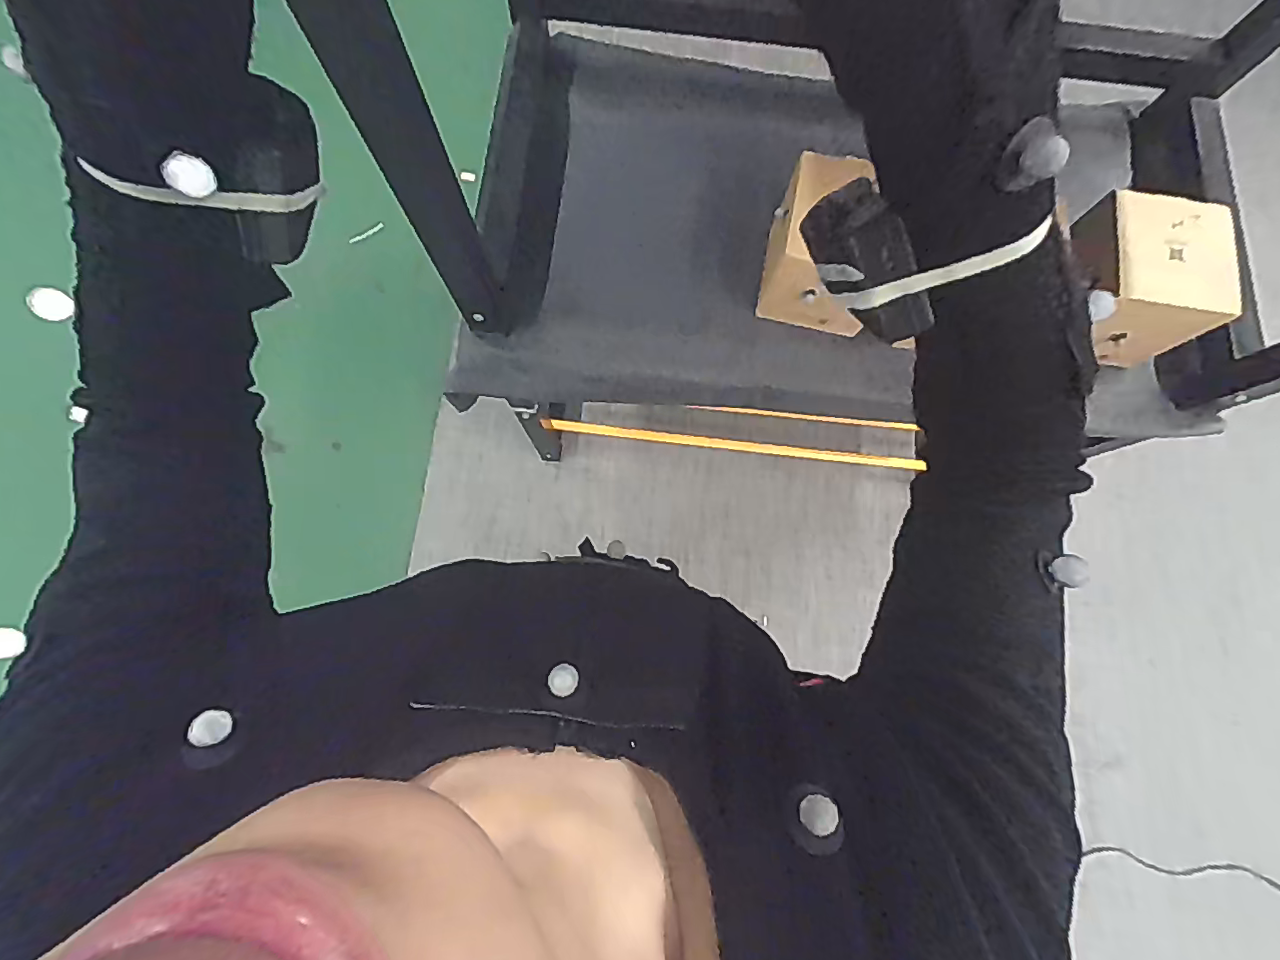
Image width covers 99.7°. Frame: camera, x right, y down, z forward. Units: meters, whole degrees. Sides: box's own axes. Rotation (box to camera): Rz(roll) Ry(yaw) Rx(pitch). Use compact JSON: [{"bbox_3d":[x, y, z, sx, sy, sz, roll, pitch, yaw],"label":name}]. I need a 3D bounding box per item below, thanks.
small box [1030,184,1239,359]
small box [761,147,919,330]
[{"bbox_3d":[0.729,-0.302,0.817,0.168,0.176,0.179,9,77,0],"label":"small box"},{"bbox_3d":[0.290,-0.353,0.818,0.168,0.176,0.179,13,77,1],"label":"small box"}]
